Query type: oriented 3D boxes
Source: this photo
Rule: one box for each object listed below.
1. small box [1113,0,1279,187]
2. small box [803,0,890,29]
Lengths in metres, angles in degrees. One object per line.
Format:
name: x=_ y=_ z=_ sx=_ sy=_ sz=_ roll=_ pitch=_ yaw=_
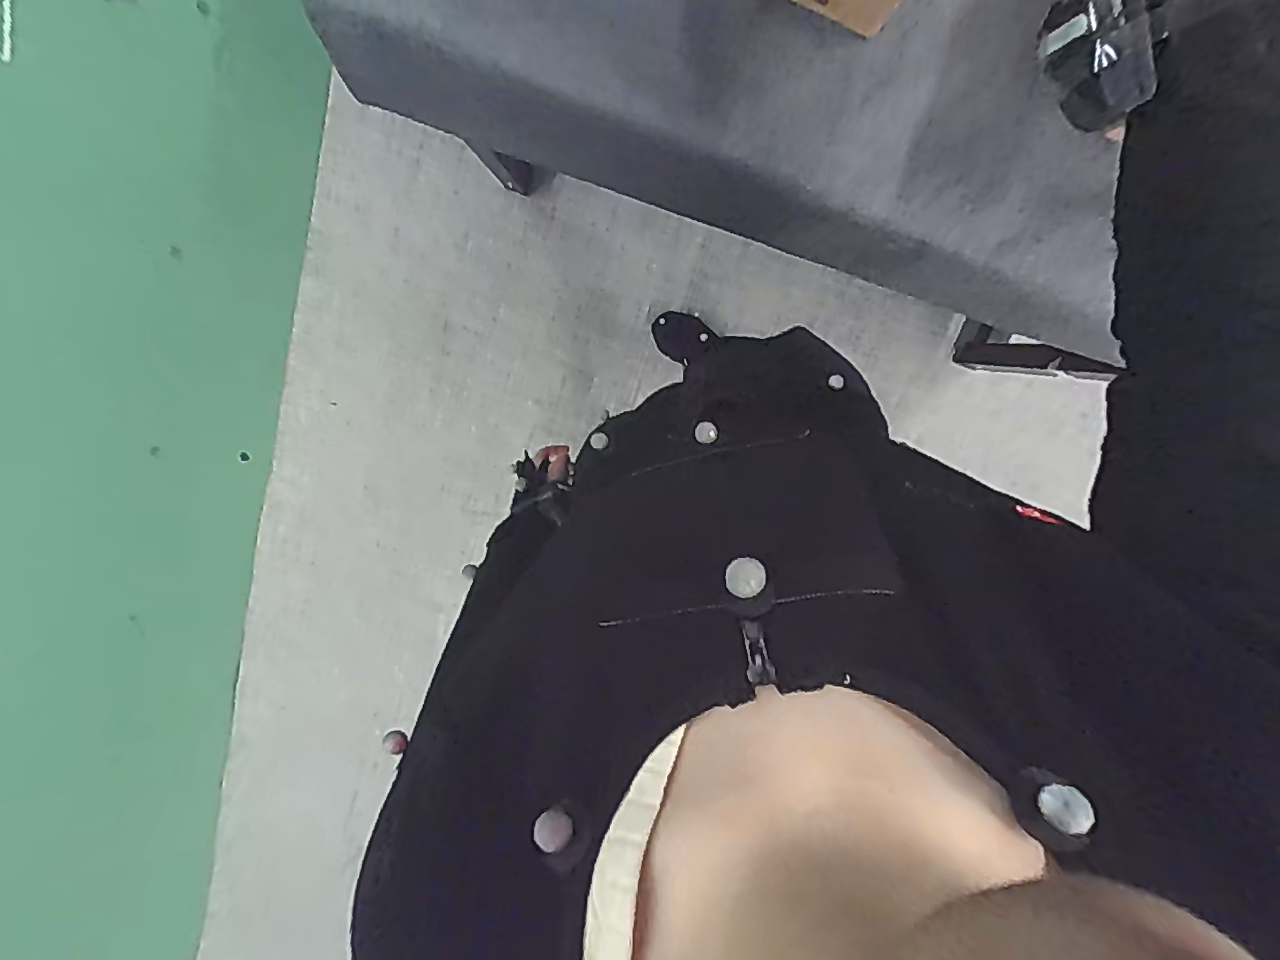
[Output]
small box: x=0.554 y=-0.372 z=0.442 sx=0.168 sy=0.176 sz=0.179 roll=20 pitch=104 yaw=-5
small box: x=0.170 y=-0.504 z=0.408 sx=0.168 sy=0.176 sz=0.179 roll=21 pitch=102 yaw=-6
